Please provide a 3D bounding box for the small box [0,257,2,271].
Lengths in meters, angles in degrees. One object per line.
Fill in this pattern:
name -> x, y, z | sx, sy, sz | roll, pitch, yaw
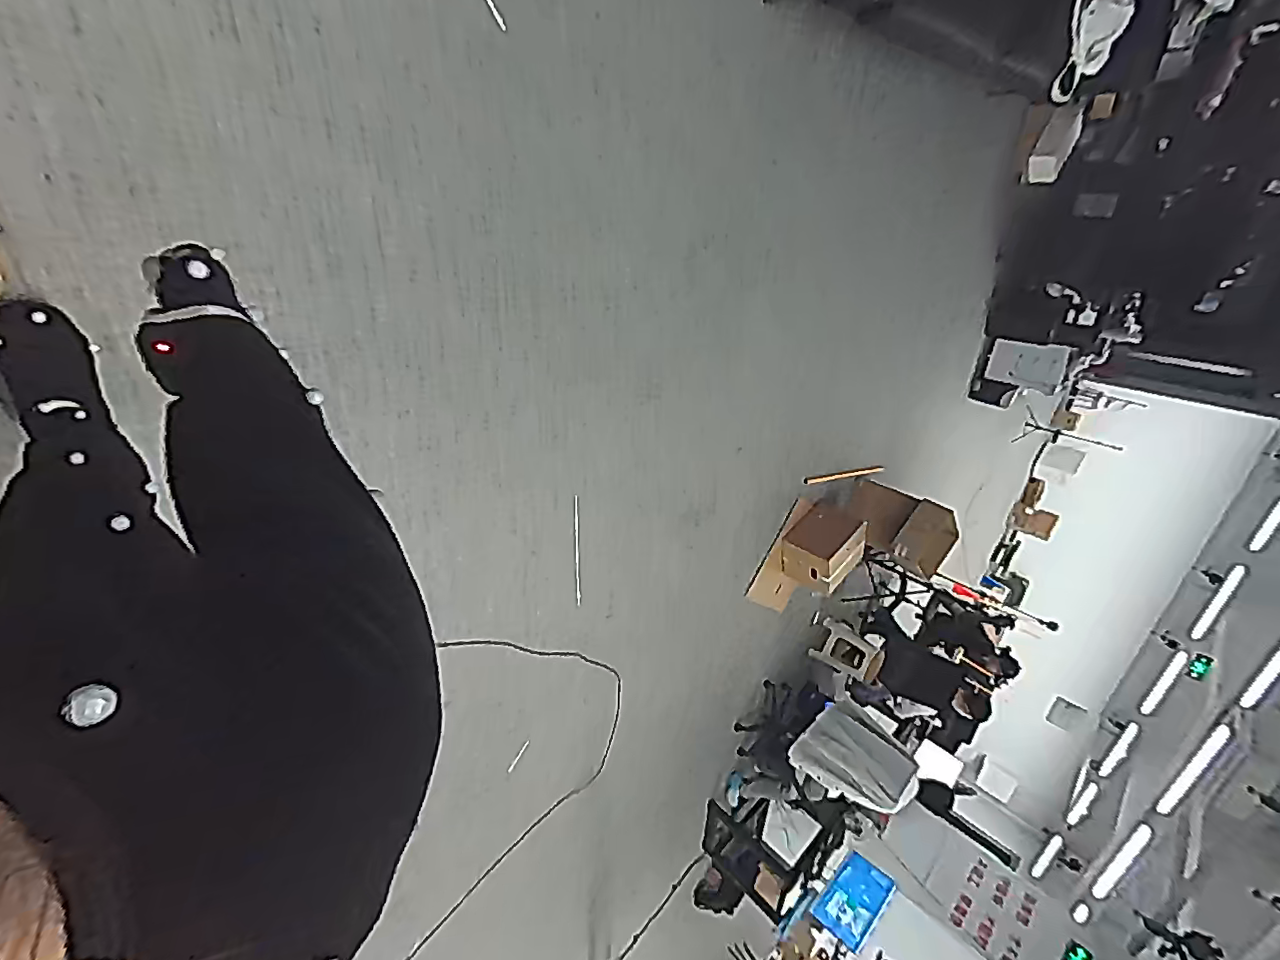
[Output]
small box -> -0.994, -0.354, 0.711 | 0.168, 0.176, 0.179 | -20, 125, -41
